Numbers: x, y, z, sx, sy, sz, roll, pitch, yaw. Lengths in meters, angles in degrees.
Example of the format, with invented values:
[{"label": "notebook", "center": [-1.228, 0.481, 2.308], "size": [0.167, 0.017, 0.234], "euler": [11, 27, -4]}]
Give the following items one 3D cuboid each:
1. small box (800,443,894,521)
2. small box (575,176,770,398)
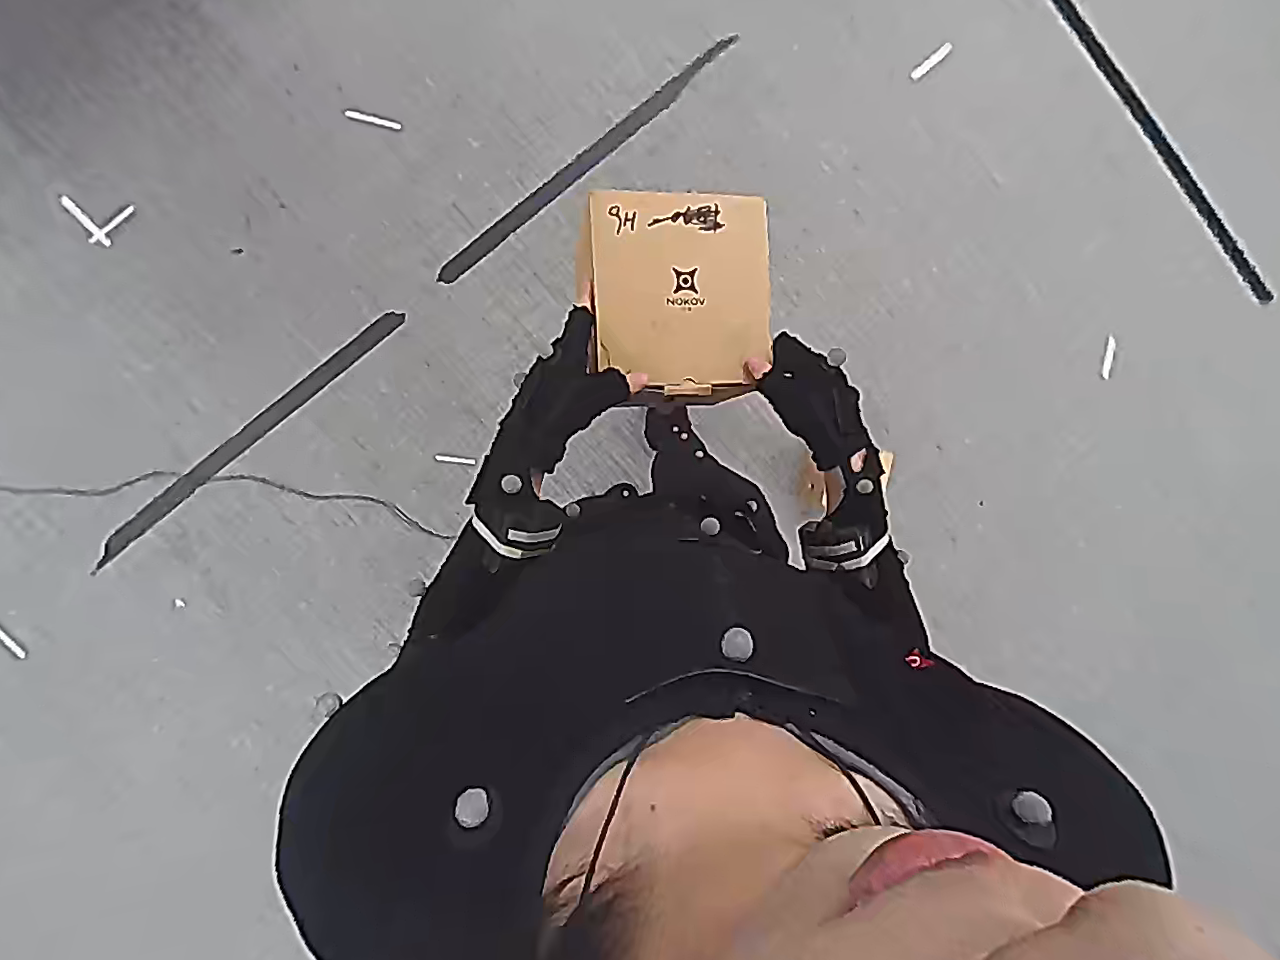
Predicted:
[{"label": "small box", "center": [0.558, 0.002, 1.483], "size": [0.168, 0.176, 0.179], "euler": [13, 90, -7]}, {"label": "small box", "center": [0.023, -0.177, 0.553], "size": [0.168, 0.176, 0.179], "euler": [-3, 92, -10]}]
